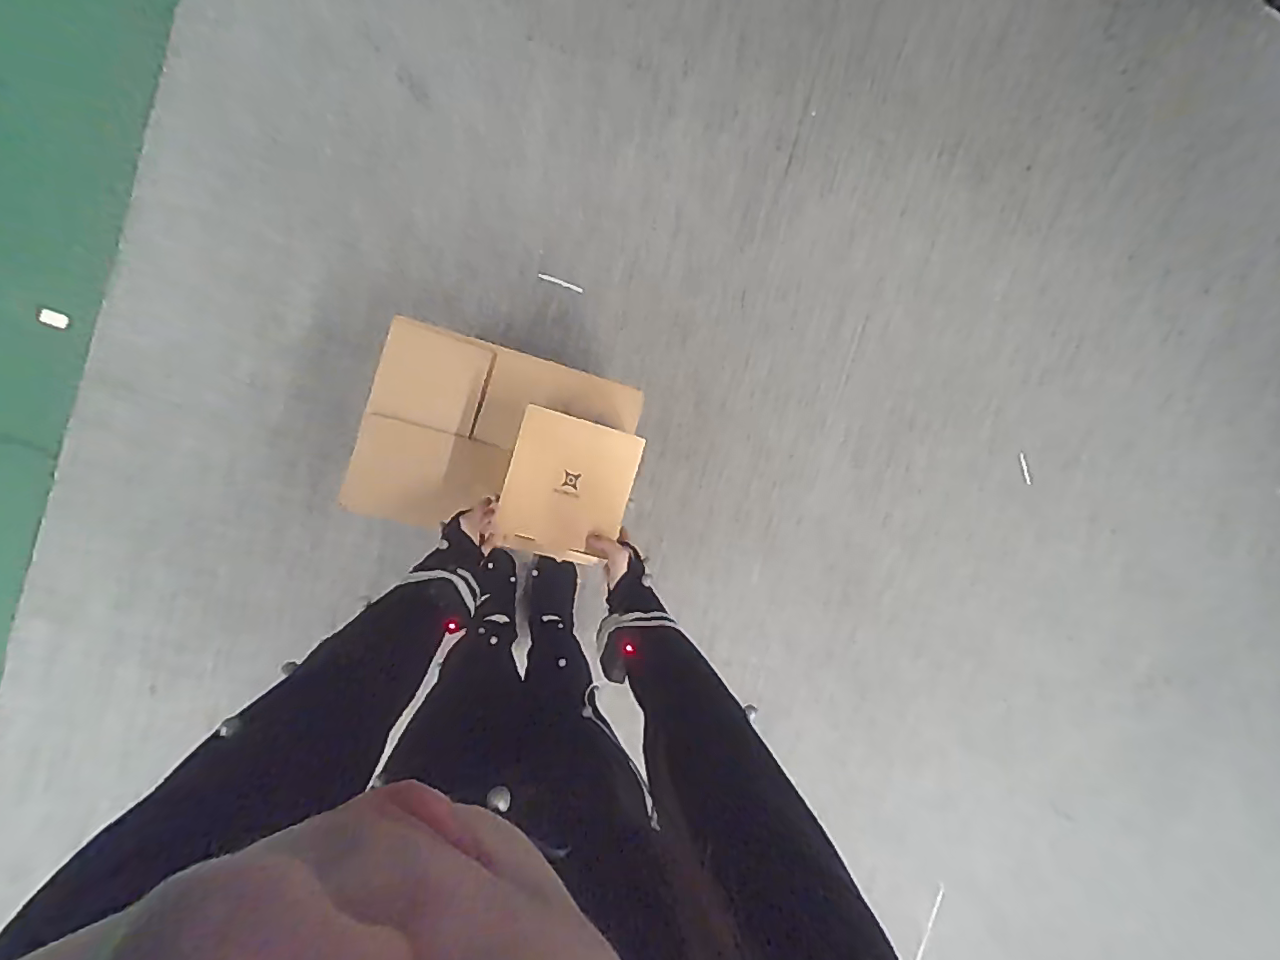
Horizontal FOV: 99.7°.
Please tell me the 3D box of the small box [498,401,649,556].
[{"bbox_3d":[-0.101,-0.008,0.798,0.168,0.176,0.179,16,94,-10],"label":"small box"}]
